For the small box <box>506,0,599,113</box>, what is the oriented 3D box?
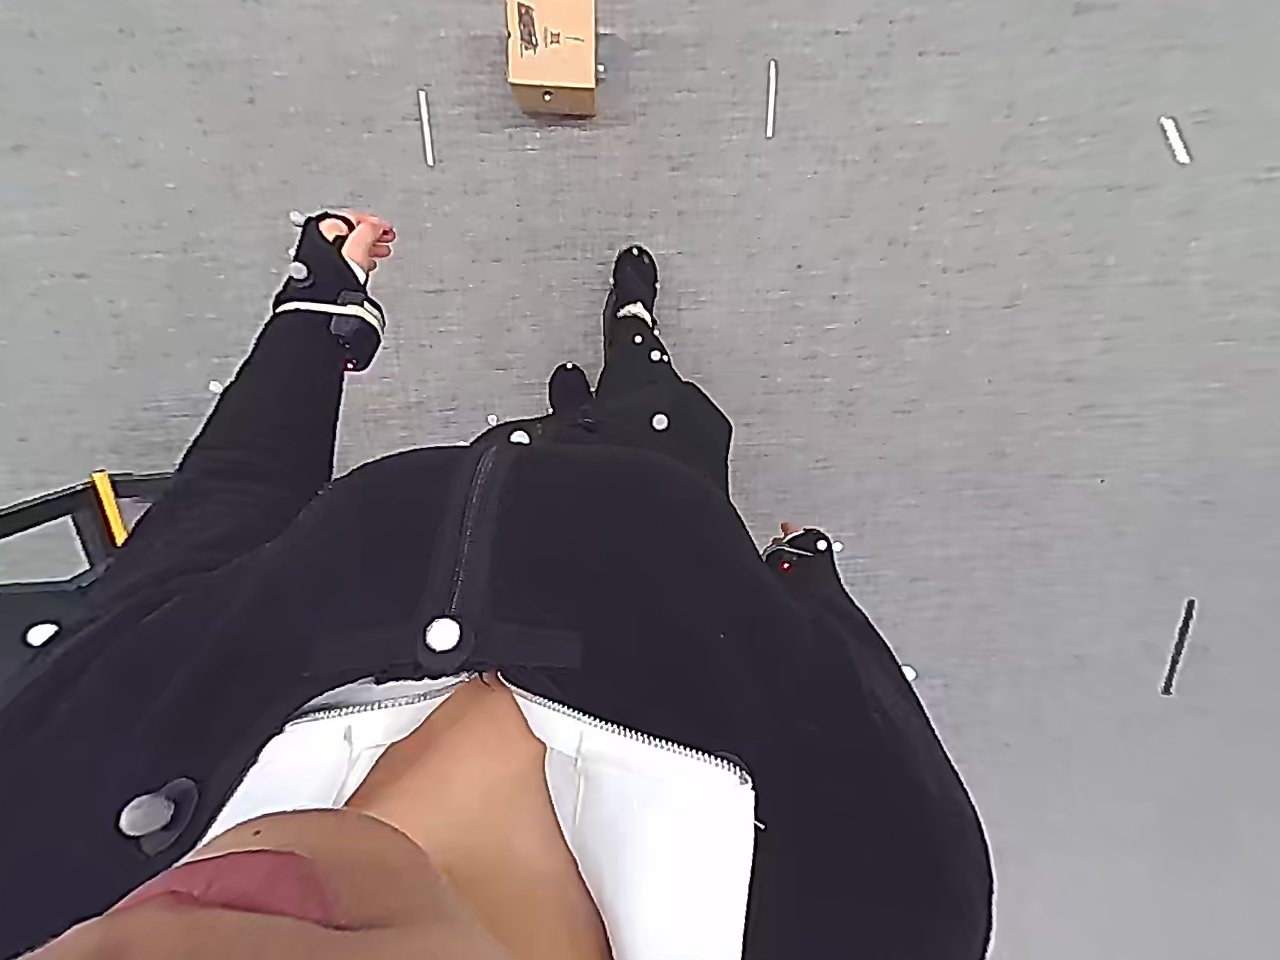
[{"bbox_3d":[-0.178,-0.898,1.138,0.179,0.176,0.168,1,108,-4],"label":"small box"}]
